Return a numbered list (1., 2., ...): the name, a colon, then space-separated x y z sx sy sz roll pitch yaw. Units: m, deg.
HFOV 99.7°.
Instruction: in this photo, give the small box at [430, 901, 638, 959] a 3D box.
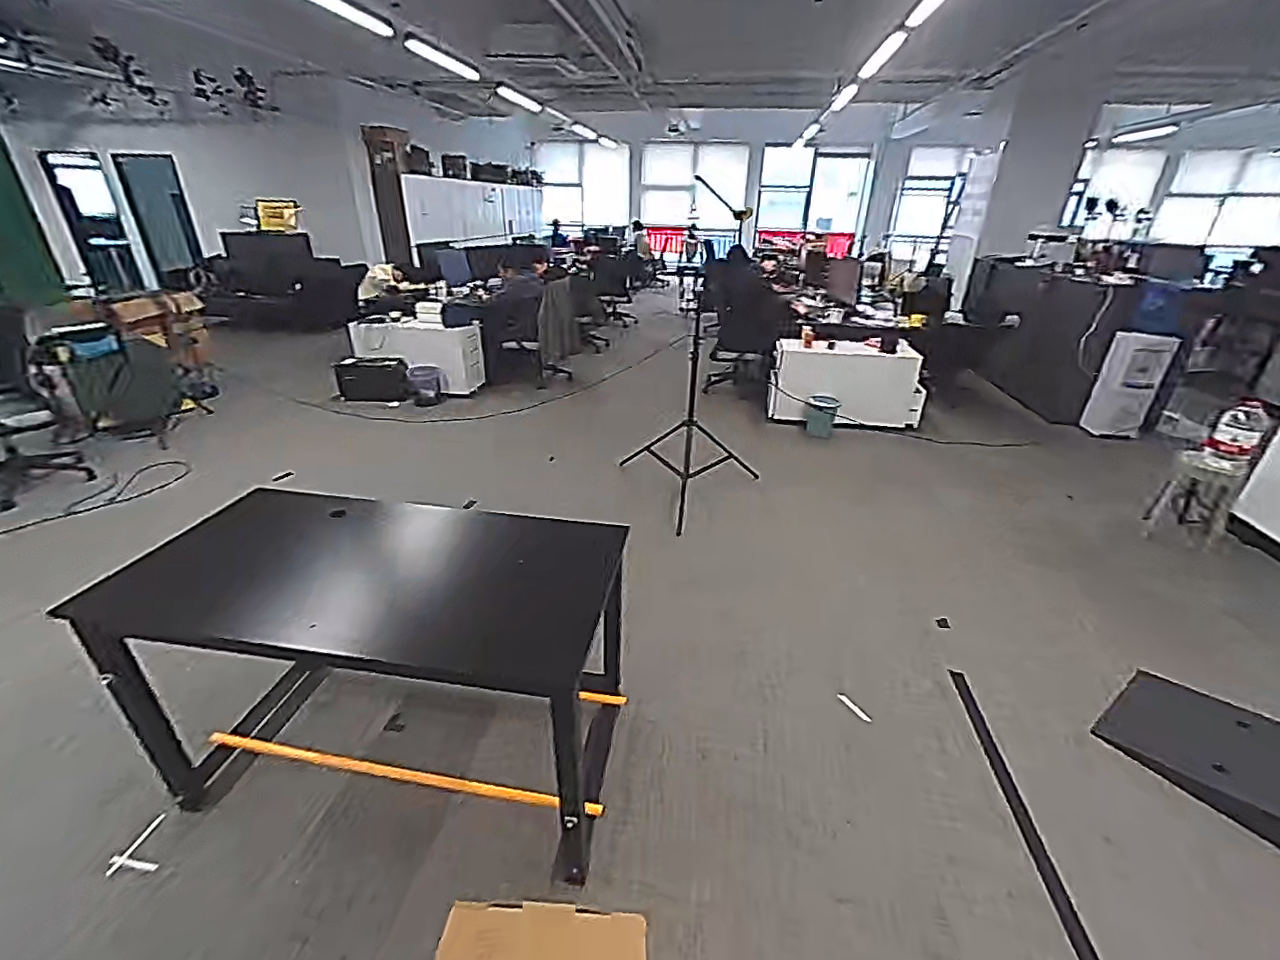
1. small box: -0.090 0.469 0.419 0.168 0.176 0.179 4 29 -4
